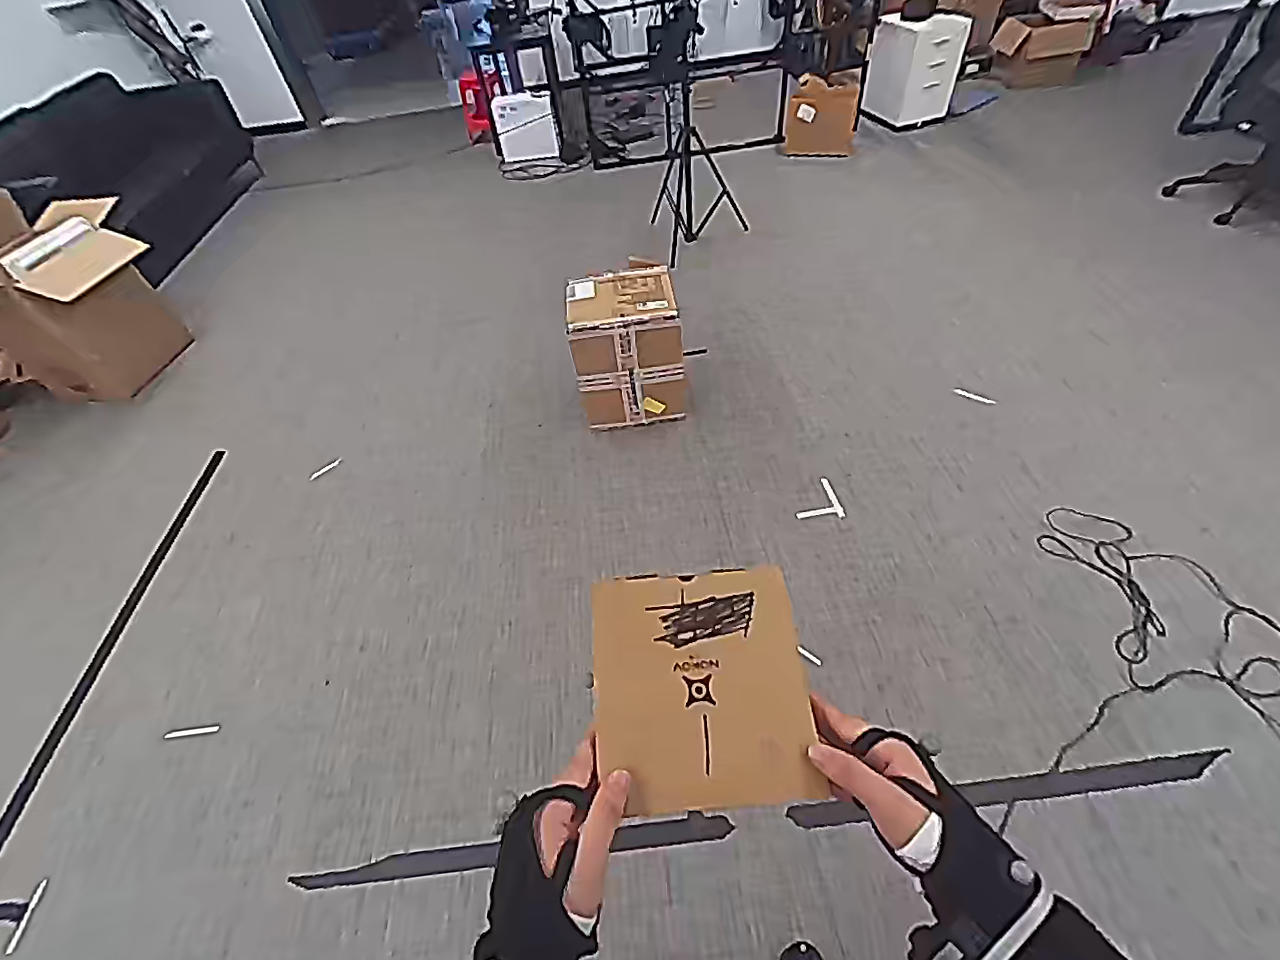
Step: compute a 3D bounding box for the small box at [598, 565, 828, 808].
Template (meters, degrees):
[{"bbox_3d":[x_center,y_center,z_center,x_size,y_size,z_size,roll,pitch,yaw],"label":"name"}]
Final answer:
[{"bbox_3d":[0.049,0.192,0.494,0.168,0.176,0.179,-4,61,-1],"label":"small box"}]
